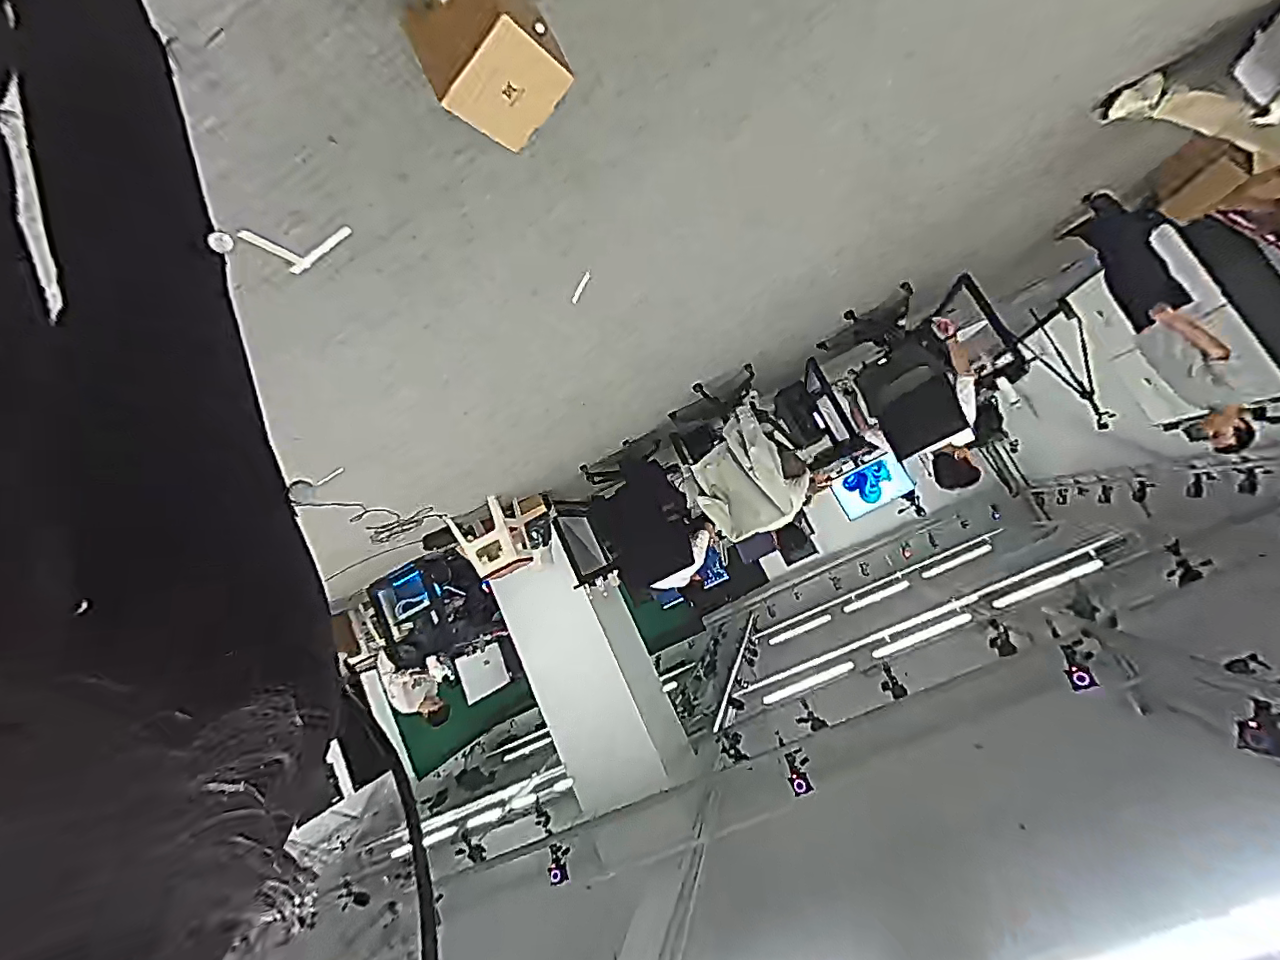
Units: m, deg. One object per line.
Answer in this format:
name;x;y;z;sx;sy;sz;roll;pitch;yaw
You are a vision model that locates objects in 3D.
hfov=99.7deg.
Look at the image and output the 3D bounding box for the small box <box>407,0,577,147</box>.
small box;-0.240;-0.703;0.880;0.168;0.176;0.179;-32;167;29
